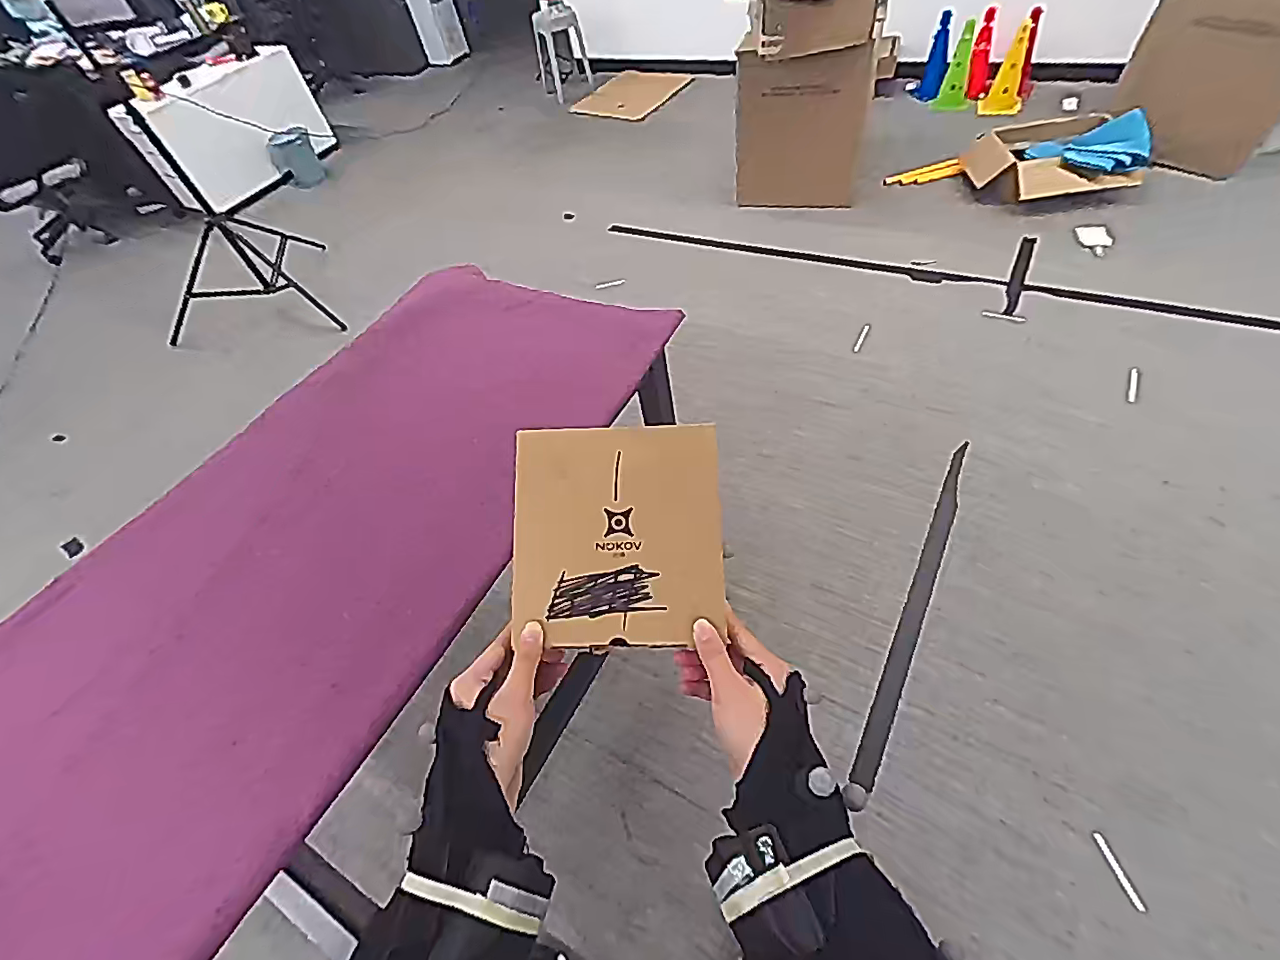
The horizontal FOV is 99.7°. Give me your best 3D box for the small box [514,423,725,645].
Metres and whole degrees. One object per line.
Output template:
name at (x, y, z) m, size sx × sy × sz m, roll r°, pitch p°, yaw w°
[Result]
small box at (-0.011, 0.057, 0.504) m, size 0.168 × 0.176 × 0.179 m, roll -1°, pitch 77°, yaw 3°
